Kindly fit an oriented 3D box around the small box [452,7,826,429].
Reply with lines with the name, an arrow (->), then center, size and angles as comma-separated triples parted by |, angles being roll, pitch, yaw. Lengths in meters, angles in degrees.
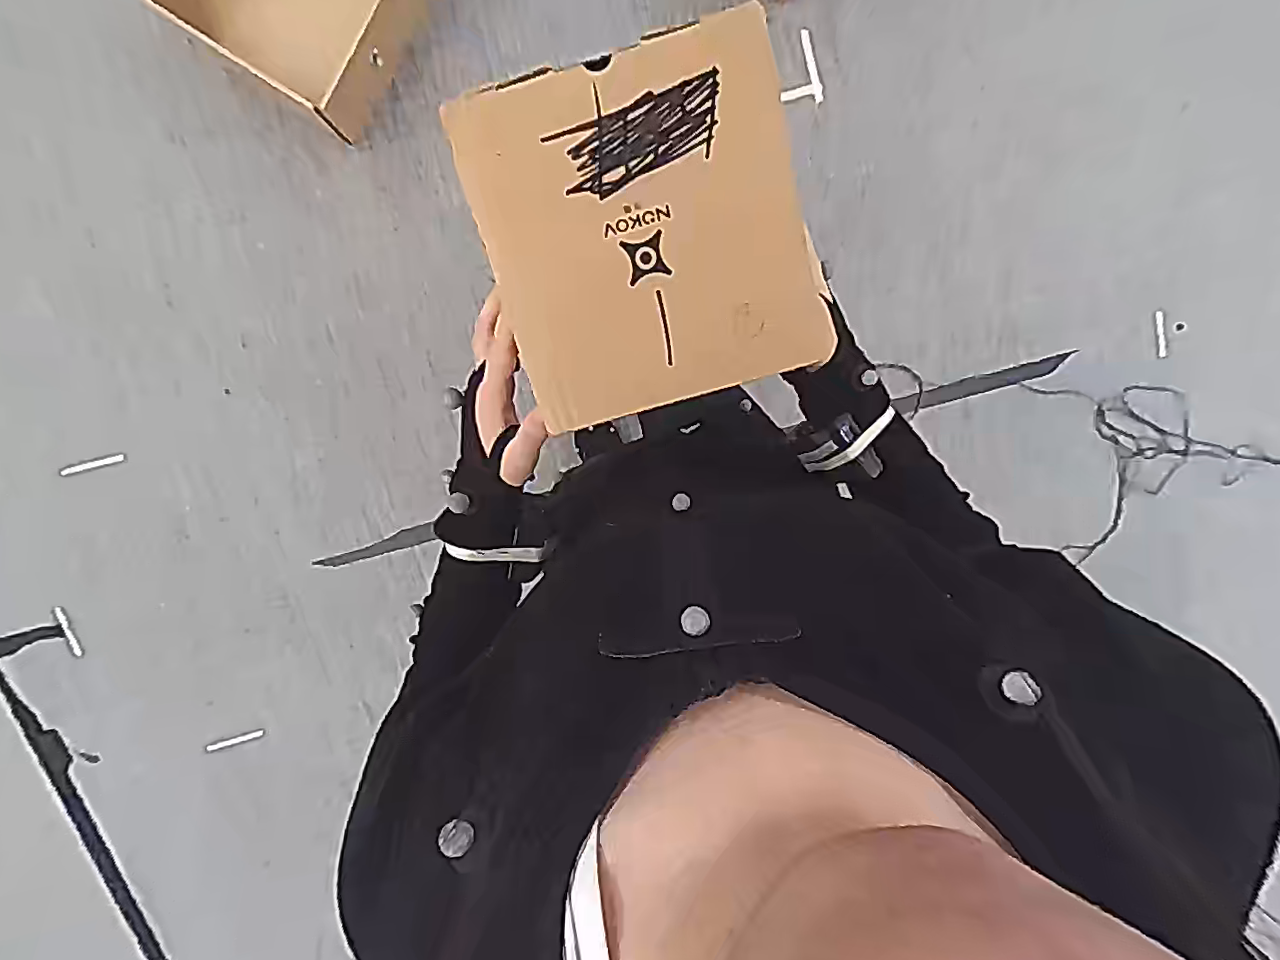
small box -> 0.004, -0.151, 0.367 | 0.168, 0.176, 0.179 | -16, 105, 5
